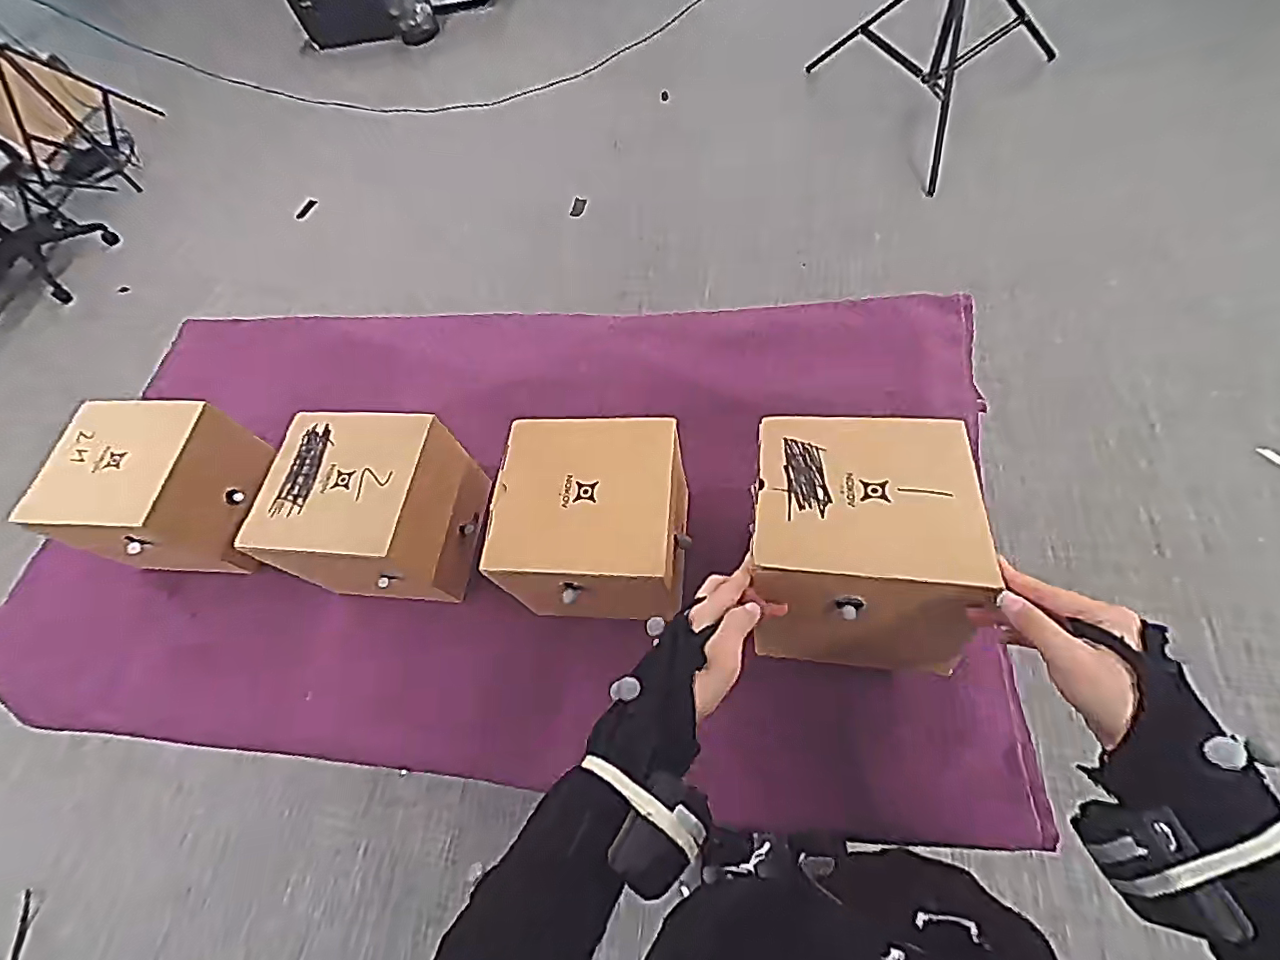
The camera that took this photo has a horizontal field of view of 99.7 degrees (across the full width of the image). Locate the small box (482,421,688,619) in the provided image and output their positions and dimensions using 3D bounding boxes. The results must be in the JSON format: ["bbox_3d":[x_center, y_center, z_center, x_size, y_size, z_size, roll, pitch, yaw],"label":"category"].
[{"bbox_3d":[-0.042,0.050,0.590,0.179,0.176,0.168,0,63,11],"label":"small box"}]

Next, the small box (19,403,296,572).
[{"bbox_3d":[-0.599,0.016,0.702,0.179,0.176,0.168,1,63,8],"label":"small box"}]
